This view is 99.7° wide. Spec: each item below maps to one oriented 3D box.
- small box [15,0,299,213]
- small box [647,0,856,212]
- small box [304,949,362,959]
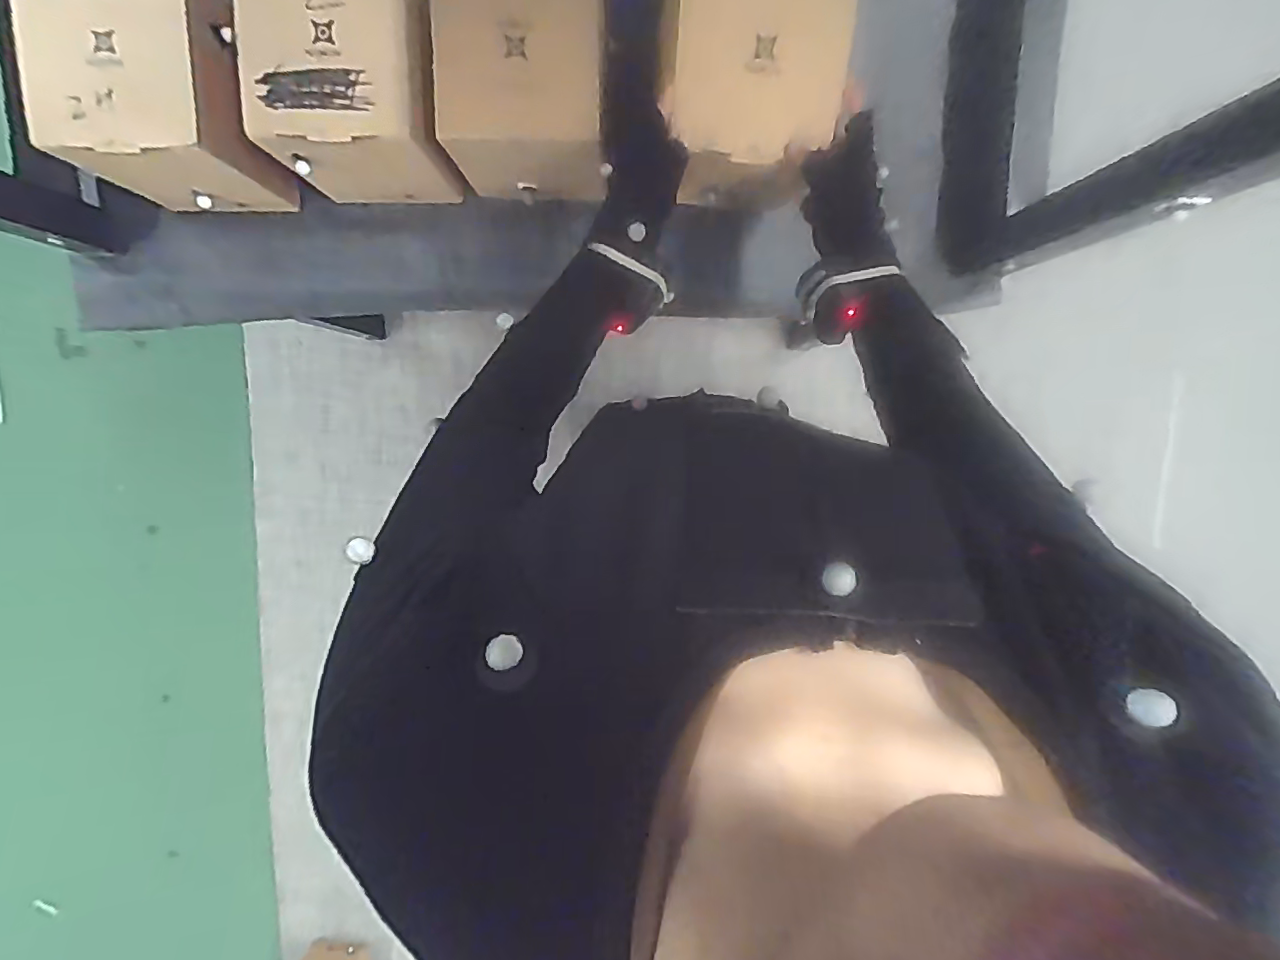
[{"bbox_3d":[-0.512,-0.420,0.599,0.168,0.176,0.179,0,97,-1],"label":"small box"},{"bbox_3d":[0.103,-0.409,0.578,0.168,0.176,0.179,2,103,-8],"label":"small box"},{"bbox_3d":[-0.929,1.519,1.575,0.168,0.176,0.179,4,98,-1],"label":"small box"}]
